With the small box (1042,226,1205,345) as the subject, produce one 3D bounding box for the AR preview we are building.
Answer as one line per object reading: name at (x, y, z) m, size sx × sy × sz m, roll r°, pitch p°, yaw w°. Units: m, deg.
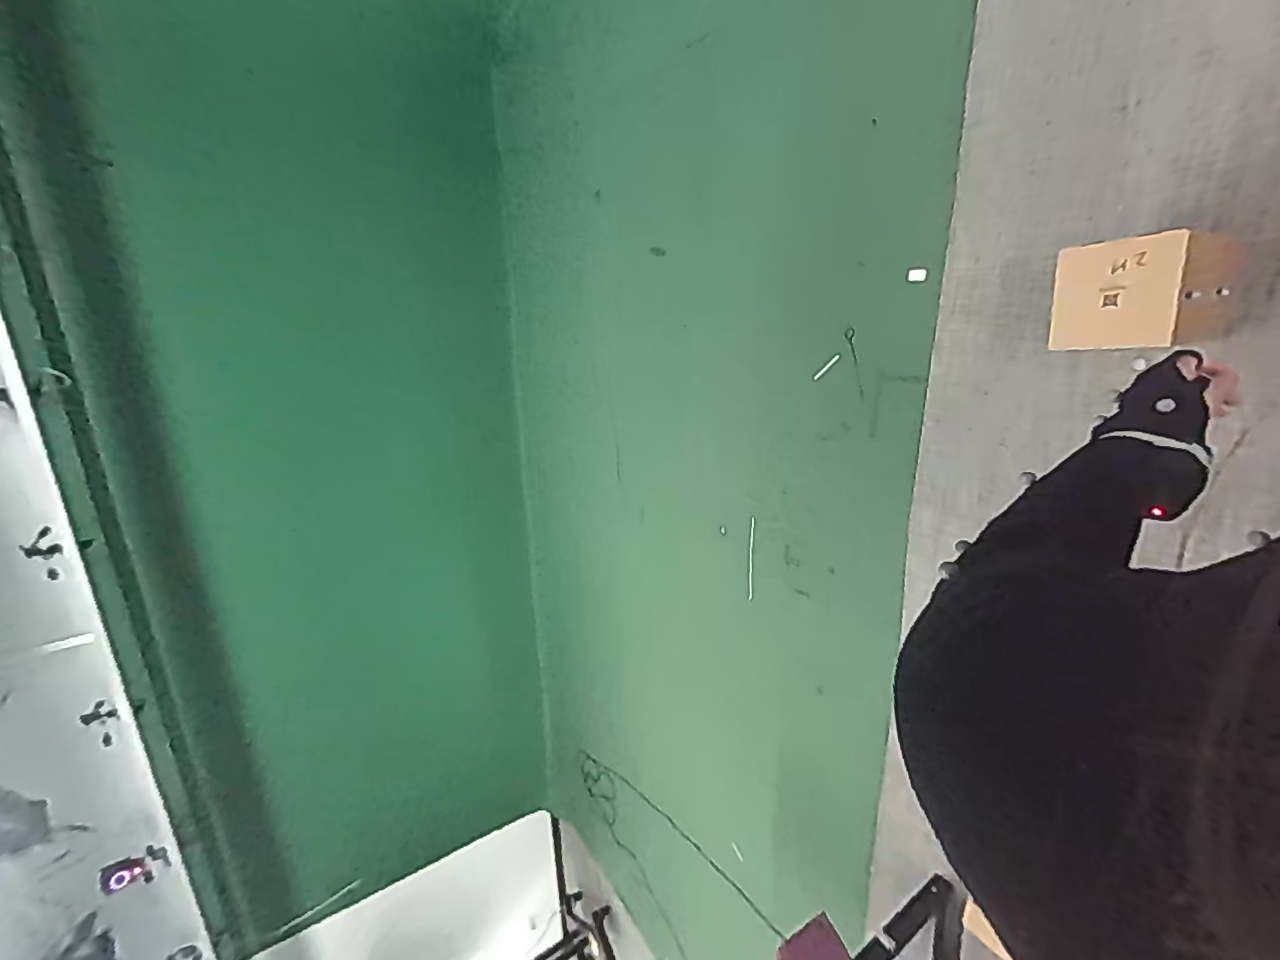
small box at (0.842, -0.332, 0.945) m, size 0.168 × 0.176 × 0.179 m, roll 17°, pitch 114°, yaw 54°
